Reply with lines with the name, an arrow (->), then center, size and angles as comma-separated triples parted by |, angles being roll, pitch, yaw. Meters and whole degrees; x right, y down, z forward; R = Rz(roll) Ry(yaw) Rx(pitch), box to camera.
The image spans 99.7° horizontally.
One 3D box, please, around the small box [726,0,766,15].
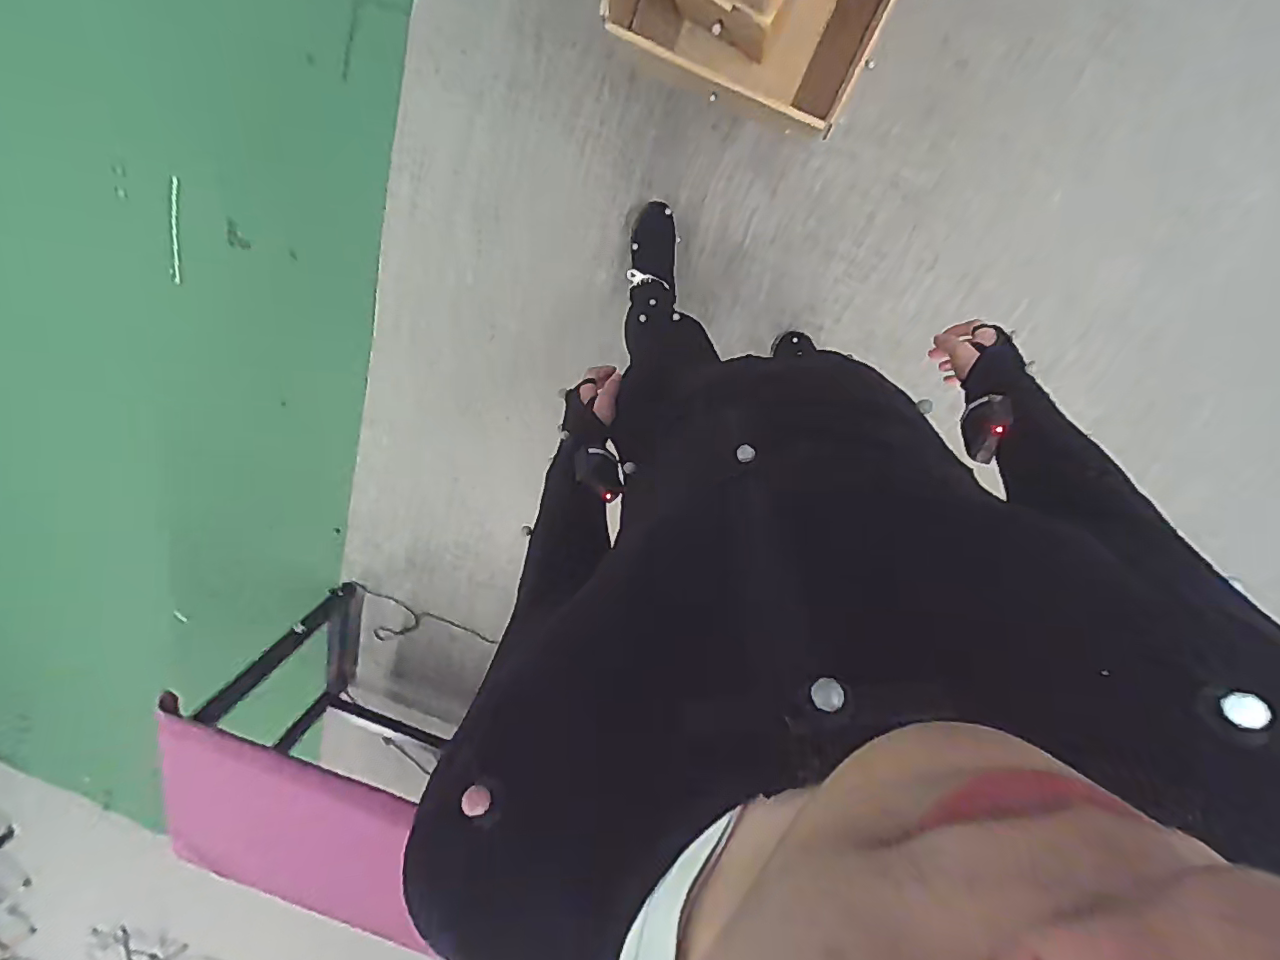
small box -> 0.122, -0.723, 0.652 | 0.168, 0.176, 0.179 | 30, 113, -4
